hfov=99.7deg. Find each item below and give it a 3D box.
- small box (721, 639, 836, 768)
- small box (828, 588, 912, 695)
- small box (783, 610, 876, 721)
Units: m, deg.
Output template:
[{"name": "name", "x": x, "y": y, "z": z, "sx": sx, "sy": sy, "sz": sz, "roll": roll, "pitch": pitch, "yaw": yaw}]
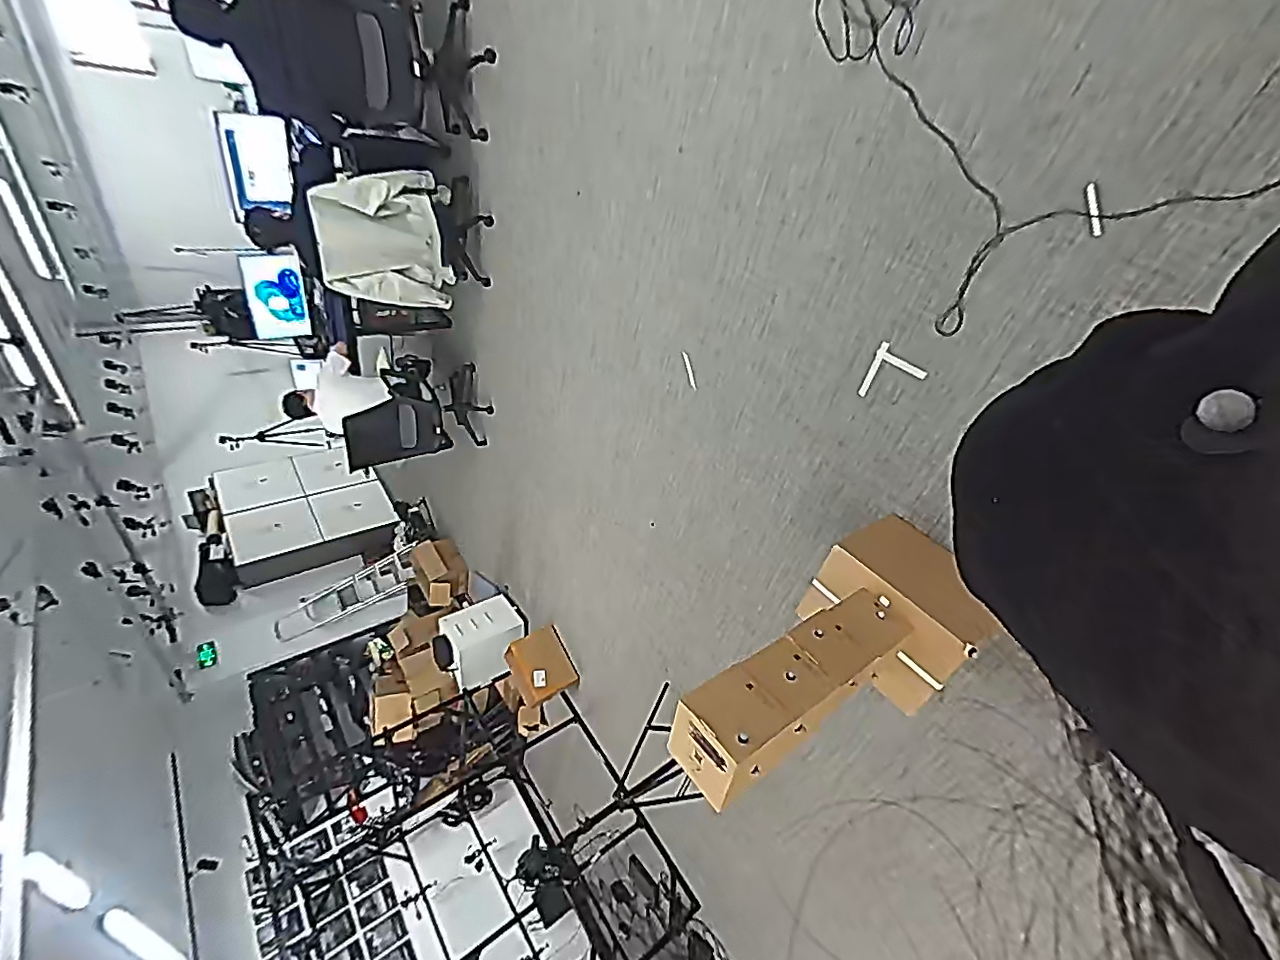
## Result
[{"name": "small box", "x": 0.312, "y": 0.493, "z": 1.217, "sx": 0.168, "sy": 0.176, "sz": 0.179, "roll": 40, "pitch": 133, "yaw": 40}, {"name": "small box", "x": 0.568, "y": 0.414, "z": 1.404, "sx": 0.168, "sy": 0.176, "sz": 0.179, "roll": 43, "pitch": 135, "yaw": 35}, {"name": "small box", "x": 0.440, "y": 0.447, "z": 1.311, "sx": 0.168, "sy": 0.176, "sz": 0.179, "roll": 43, "pitch": 137, "yaw": 37}]
